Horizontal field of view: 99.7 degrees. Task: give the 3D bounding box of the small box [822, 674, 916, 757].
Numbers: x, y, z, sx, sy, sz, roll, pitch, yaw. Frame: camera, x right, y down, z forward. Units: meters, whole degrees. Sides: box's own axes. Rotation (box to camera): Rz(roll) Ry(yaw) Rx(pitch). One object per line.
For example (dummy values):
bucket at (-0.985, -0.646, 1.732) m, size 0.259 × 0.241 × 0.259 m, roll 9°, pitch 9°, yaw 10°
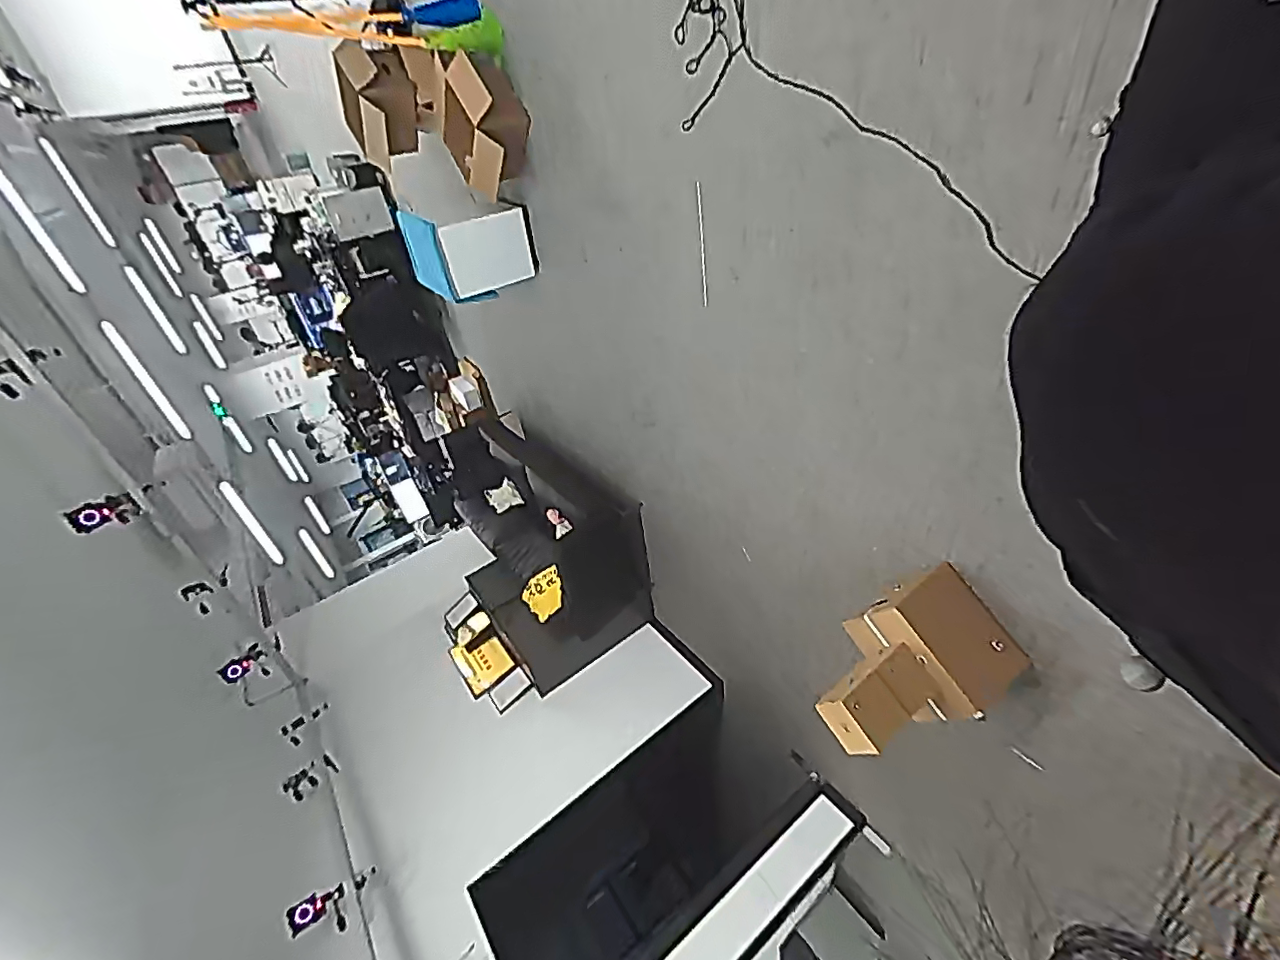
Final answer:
small box at (0.724, 0.742, 1.706) m, size 0.179 × 0.176 × 0.168 m, roll 55°, pitch 154°, yaw 17°
